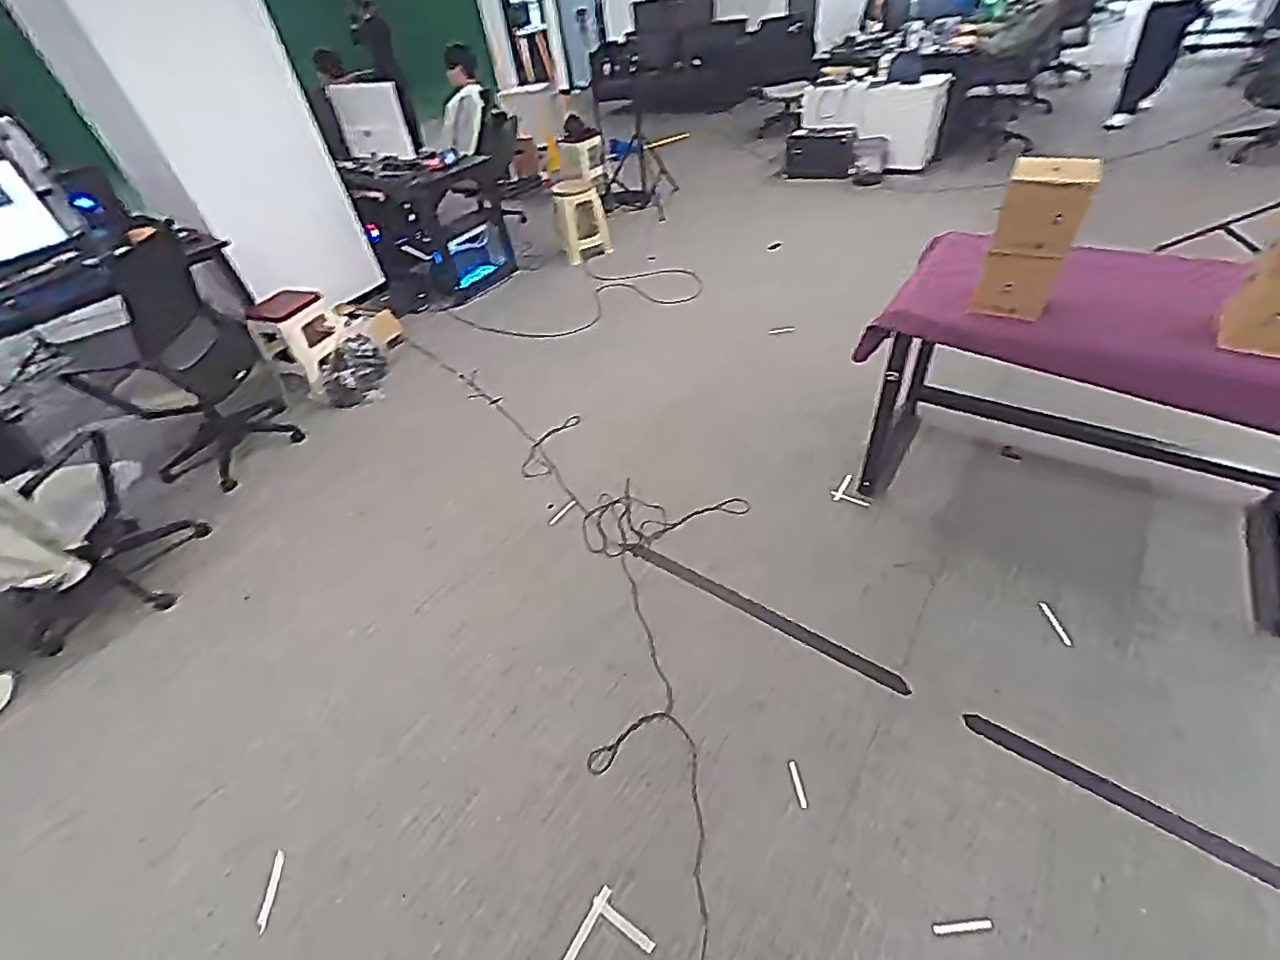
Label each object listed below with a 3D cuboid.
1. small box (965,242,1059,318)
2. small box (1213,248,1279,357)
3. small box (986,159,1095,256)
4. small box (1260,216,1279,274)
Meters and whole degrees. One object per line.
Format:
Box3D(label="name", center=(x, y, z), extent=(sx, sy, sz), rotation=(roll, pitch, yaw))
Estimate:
Box3D(label="small box", center=(0.976, -0.543, 1.416), extent=(0.168, 0.176, 0.179), rotation=(20, 50, 26))
Box3D(label="small box", center=(1.411, -0.383, 1.181), extent=(0.168, 0.176, 0.179), rotation=(22, 51, 29))
Box3D(label="small box", center=(0.956, -0.655, 1.299), extent=(0.168, 0.176, 0.179), rotation=(18, 49, 24))
Box3D(label="small box", center=(1.395, -0.504, 1.072), extent=(0.168, 0.176, 0.179), rotation=(23, 52, 30))
